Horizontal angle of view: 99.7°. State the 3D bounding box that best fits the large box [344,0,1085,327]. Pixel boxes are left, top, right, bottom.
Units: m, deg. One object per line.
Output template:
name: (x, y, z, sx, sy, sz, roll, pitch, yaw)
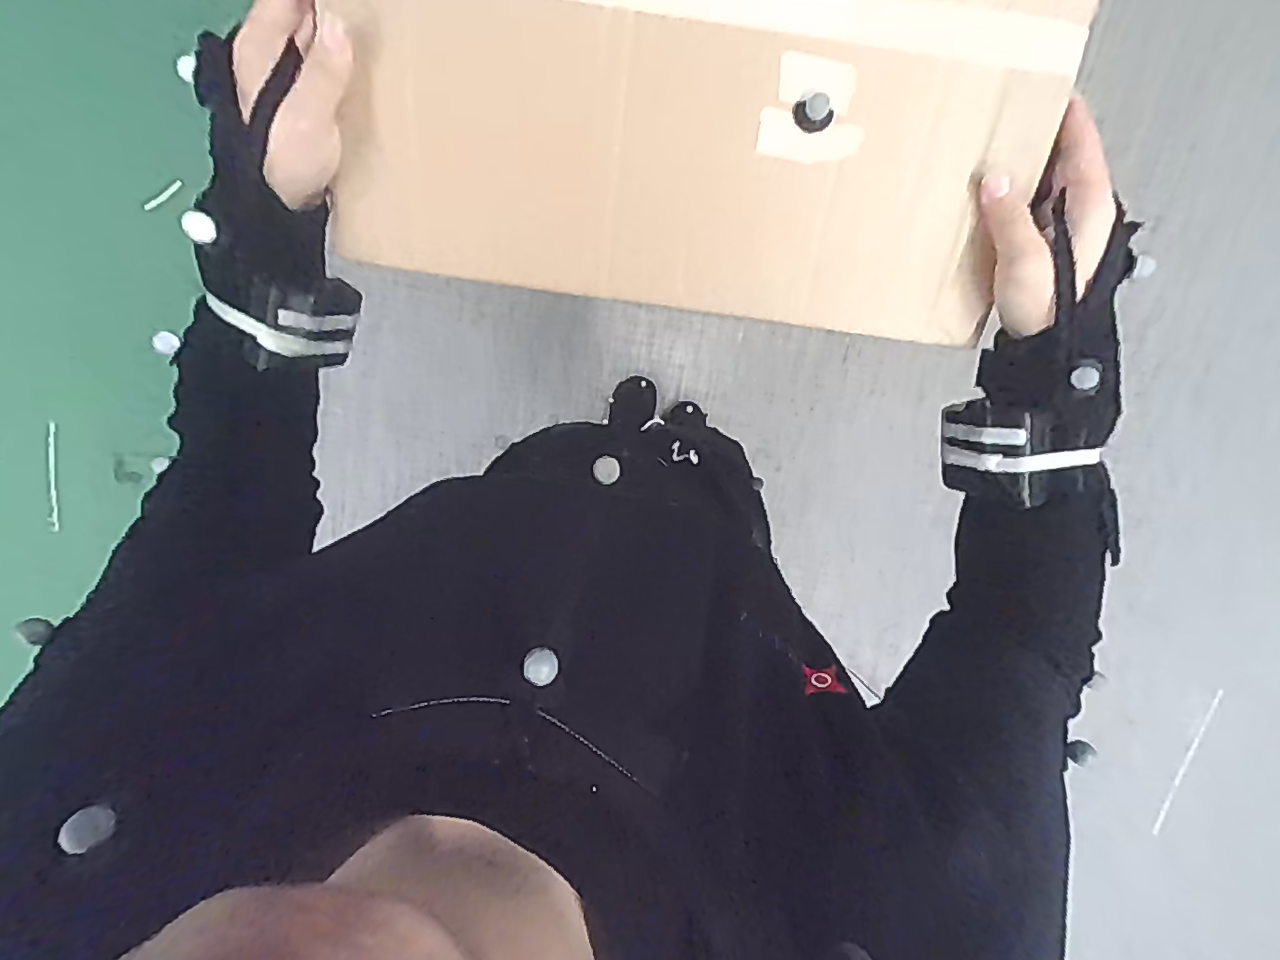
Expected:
large box: (0.038, -0.315, 0.430, 0.408, 0.320, 0.320, 6, 112, -3)
